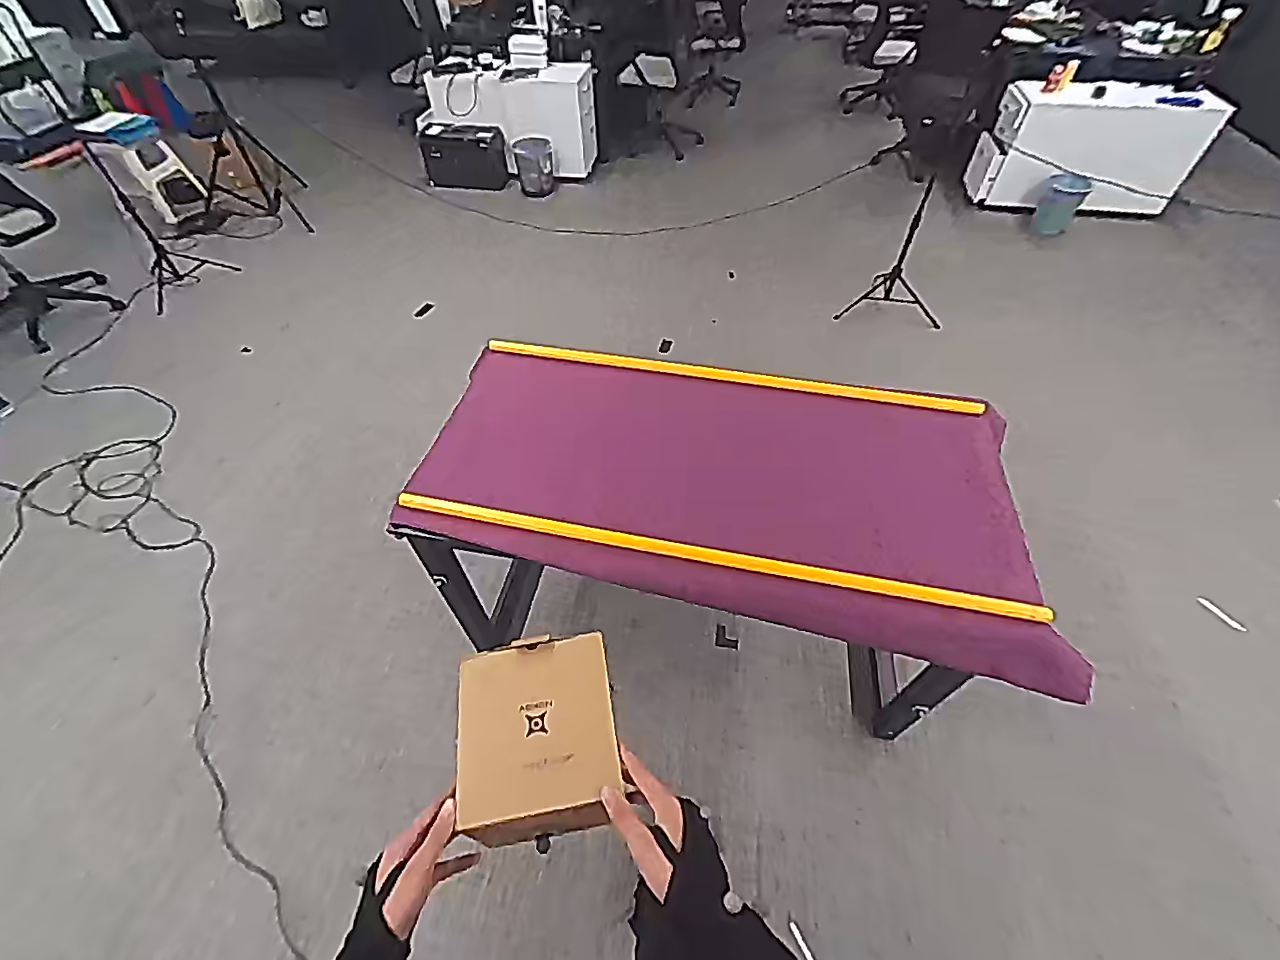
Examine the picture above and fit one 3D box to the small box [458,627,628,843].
[{"bbox_3d":[-0.107,0.300,0.636,0.168,0.176,0.179,-8,50,-6],"label":"small box"}]
